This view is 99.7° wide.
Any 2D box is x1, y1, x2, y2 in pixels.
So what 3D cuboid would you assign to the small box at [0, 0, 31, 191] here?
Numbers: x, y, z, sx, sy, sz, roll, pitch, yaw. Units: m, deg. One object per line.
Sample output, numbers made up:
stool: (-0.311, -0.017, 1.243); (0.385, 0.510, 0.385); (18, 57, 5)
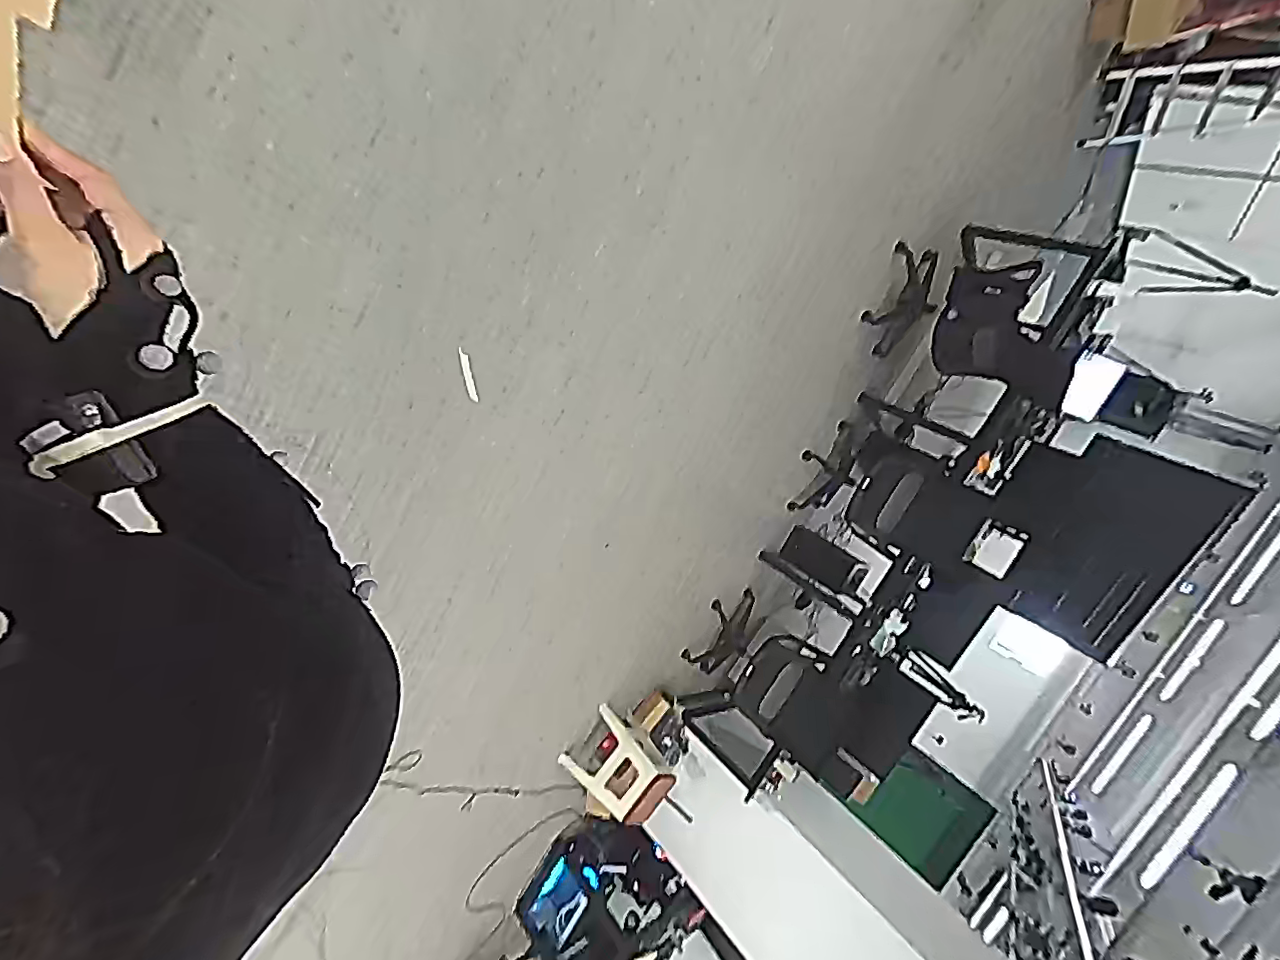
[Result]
small box: (-0.447, -0.255, 0.259); (0.179, 0.176, 0.168); (-5, 103, -60)
